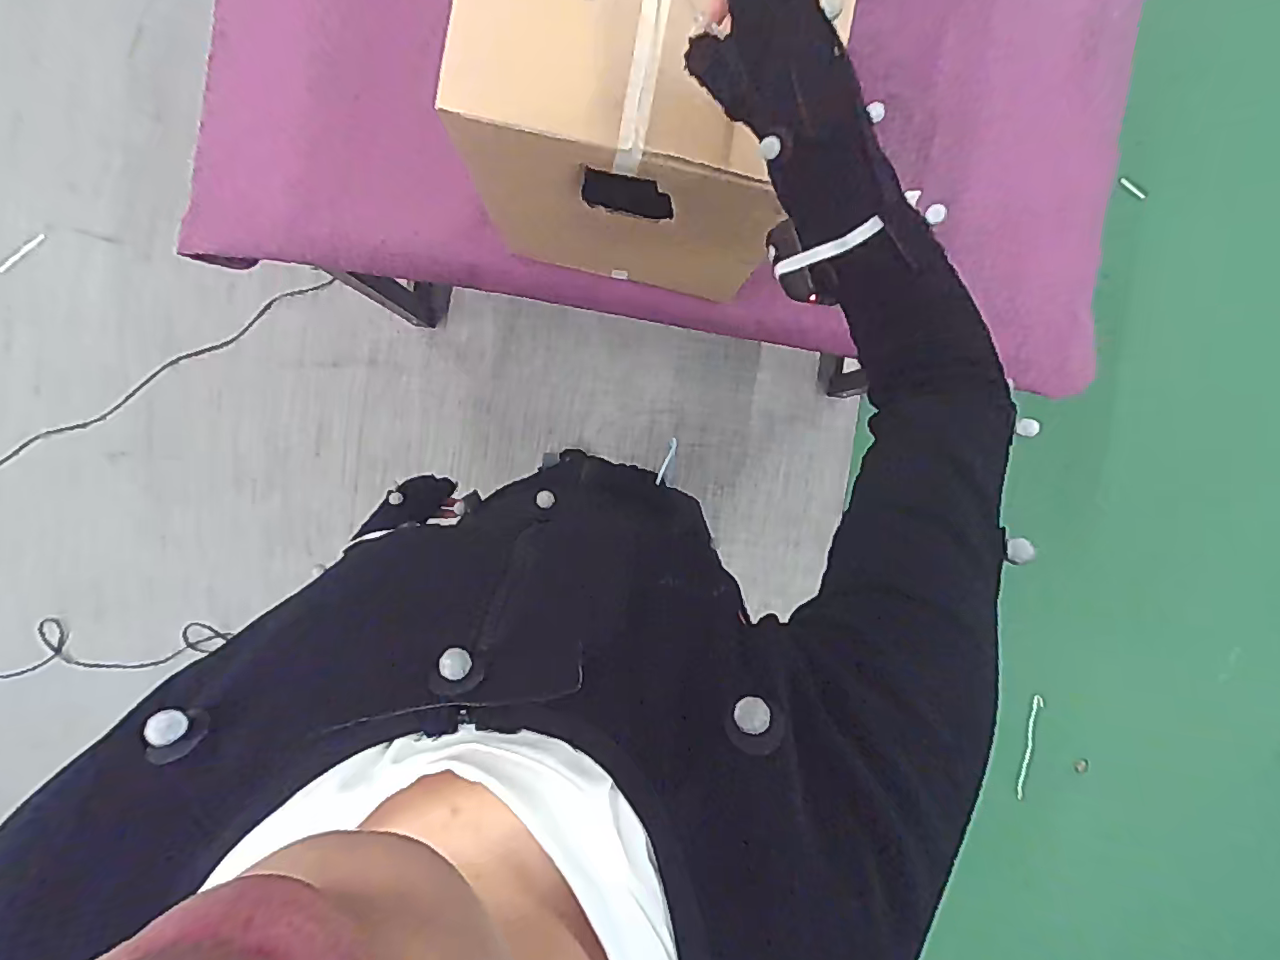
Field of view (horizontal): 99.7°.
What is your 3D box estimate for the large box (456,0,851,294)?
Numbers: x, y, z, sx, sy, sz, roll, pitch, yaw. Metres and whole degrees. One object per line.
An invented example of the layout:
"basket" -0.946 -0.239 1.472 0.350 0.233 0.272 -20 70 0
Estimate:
"large box" 0.022 -0.472 0.591 0.320 0.320 0.408 11 93 -4
